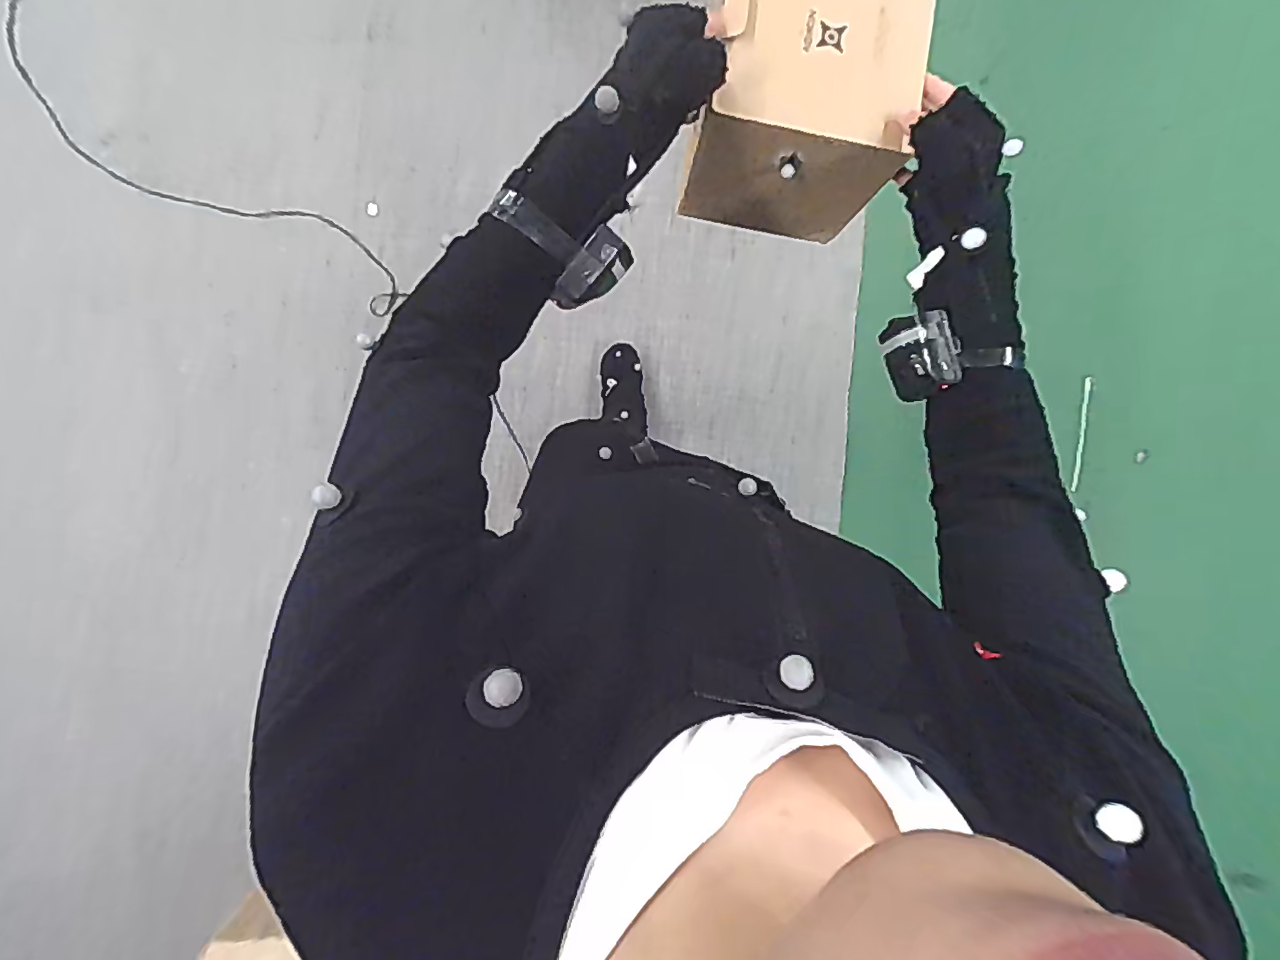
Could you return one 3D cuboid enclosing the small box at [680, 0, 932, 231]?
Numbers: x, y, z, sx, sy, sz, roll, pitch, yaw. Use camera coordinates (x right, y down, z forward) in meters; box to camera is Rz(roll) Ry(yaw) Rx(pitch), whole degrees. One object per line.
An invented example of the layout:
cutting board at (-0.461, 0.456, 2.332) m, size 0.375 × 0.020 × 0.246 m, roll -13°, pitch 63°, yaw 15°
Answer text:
small box at (0.143, -0.365, 0.520) m, size 0.179 × 0.176 × 0.168 m, roll 8°, pitch 89°, yaw -6°
